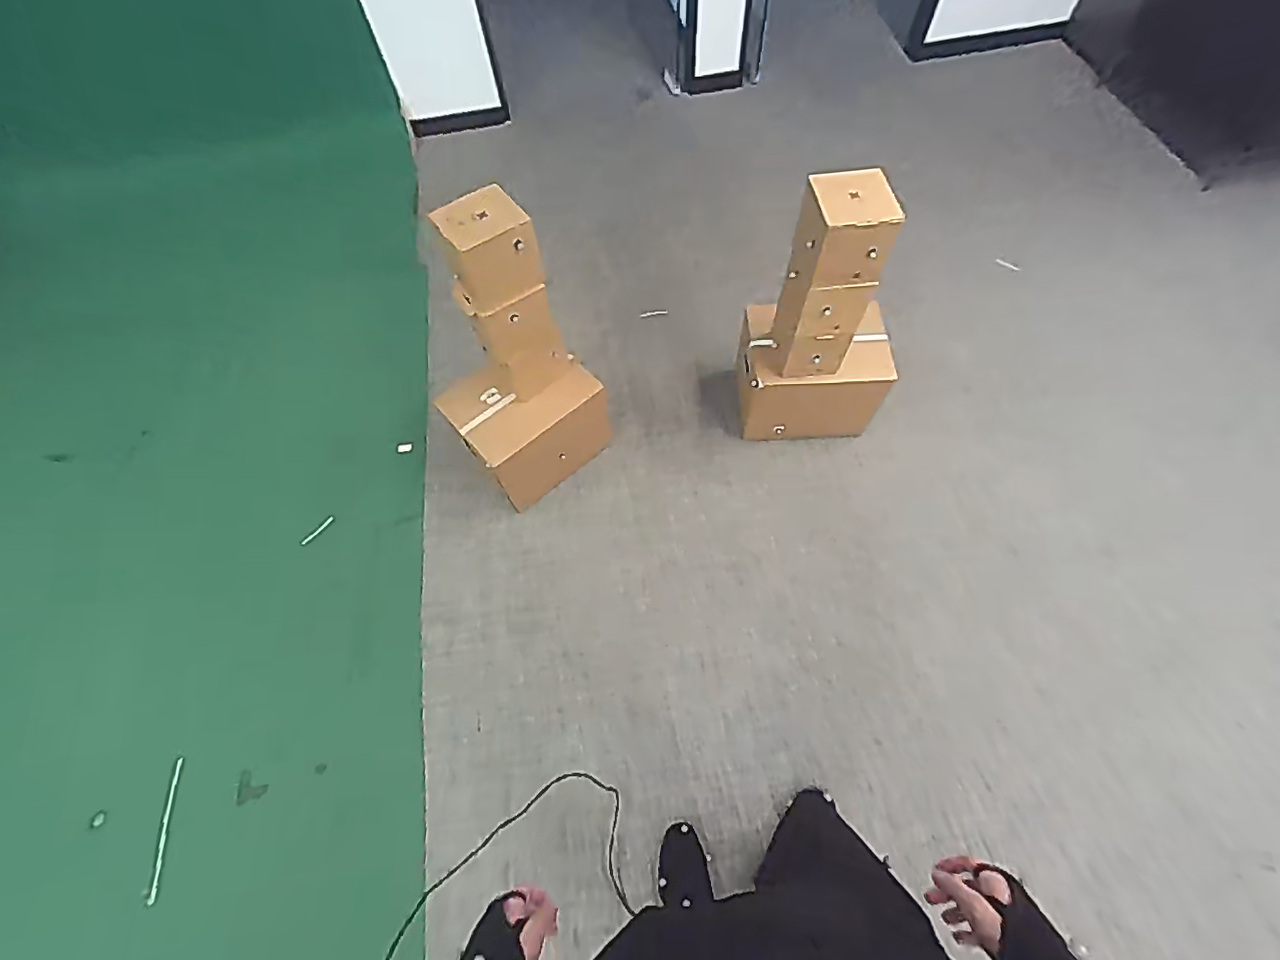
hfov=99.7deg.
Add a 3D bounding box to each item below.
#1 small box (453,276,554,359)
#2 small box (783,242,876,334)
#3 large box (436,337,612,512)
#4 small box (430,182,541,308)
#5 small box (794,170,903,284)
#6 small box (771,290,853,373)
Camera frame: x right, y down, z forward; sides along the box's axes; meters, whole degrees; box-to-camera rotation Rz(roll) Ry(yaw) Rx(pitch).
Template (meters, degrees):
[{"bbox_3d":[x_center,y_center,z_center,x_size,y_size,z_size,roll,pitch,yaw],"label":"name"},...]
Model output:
[{"bbox_3d":[-0.339,-0.441,1.378,0.179,0.176,0.168,-33,66,-14],"label":"small box"},{"bbox_3d":[0.471,-0.486,1.370,0.168,0.176,0.179,-5,62,0],"label":"small box"},{"bbox_3d":[-0.344,-0.179,1.704,0.408,0.320,0.320,-40,67,-16],"label":"large box"},{"bbox_3d":[-0.342,-0.535,1.241,0.179,0.176,0.168,-33,65,-14],"label":"small box"},{"bbox_3d":[0.463,-0.565,1.228,0.168,0.176,0.179,-5,62,-1],"label":"small box"},{"bbox_3d":[0.474,-0.413,1.516,0.168,0.176,0.179,-4,64,0],"label":"small box"}]
